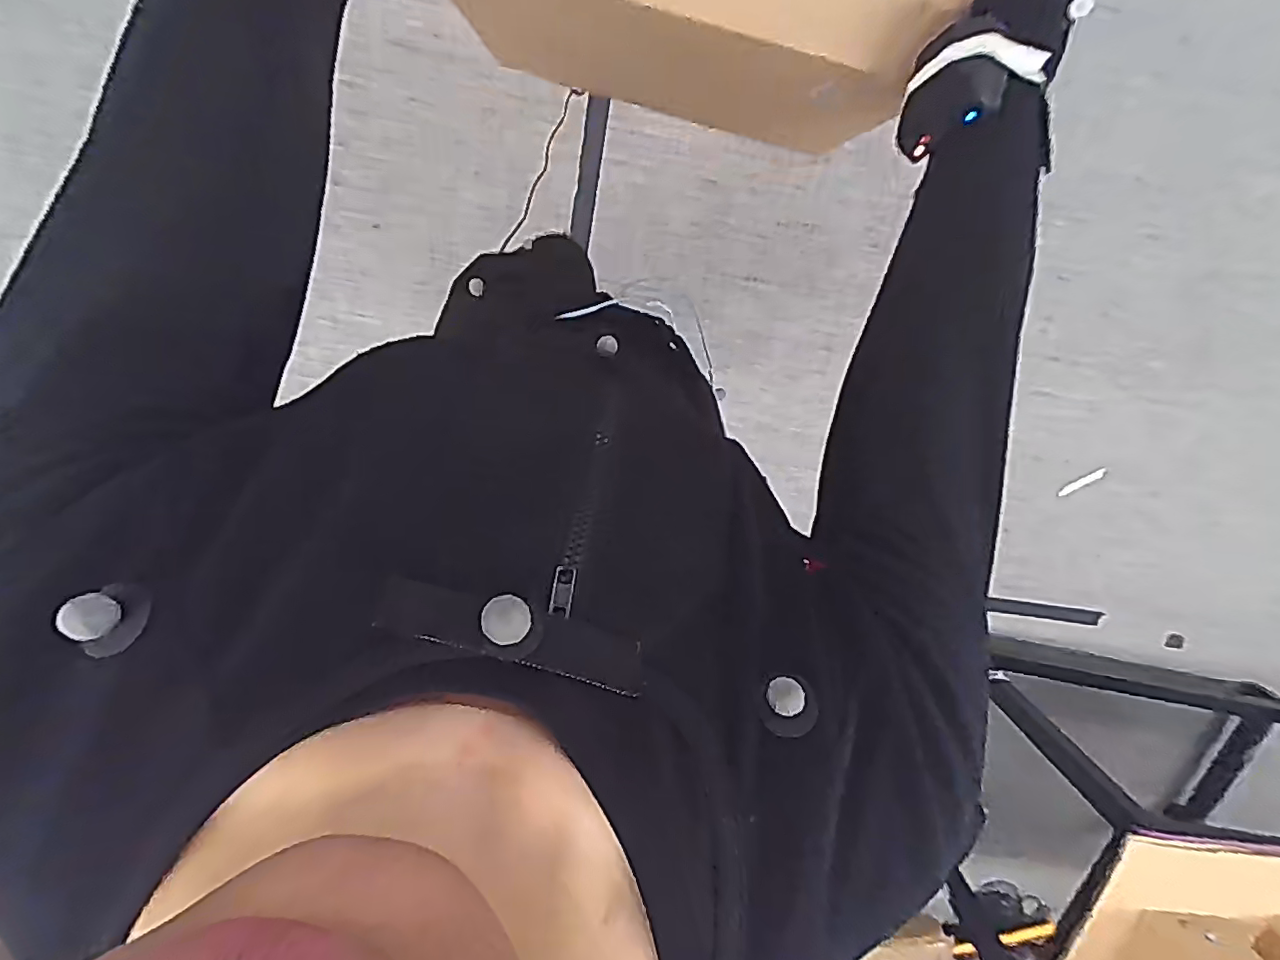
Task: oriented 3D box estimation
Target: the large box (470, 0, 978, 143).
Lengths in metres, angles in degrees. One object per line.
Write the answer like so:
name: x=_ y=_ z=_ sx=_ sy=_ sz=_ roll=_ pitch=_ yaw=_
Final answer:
large box: x=0.068 y=-0.531 z=0.457 sx=0.408 sy=0.320 sz=0.320 roll=13 pitch=114 yaw=-6
